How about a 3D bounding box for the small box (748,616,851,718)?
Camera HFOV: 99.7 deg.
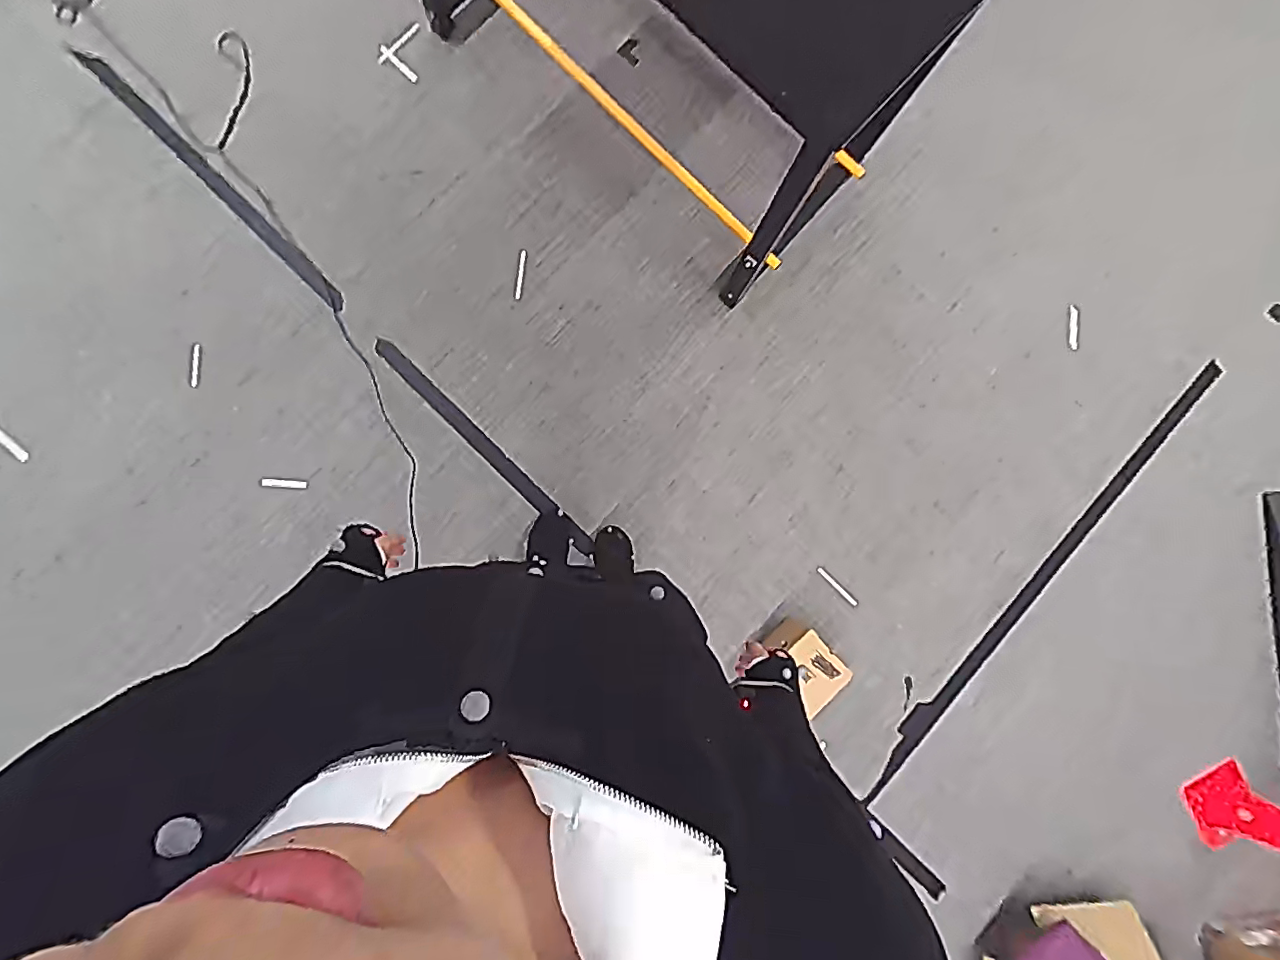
[{"bbox_3d":[0.419,0.491,1.451,0.179,0.176,0.168,-43,90,-5],"label":"small box"}]
